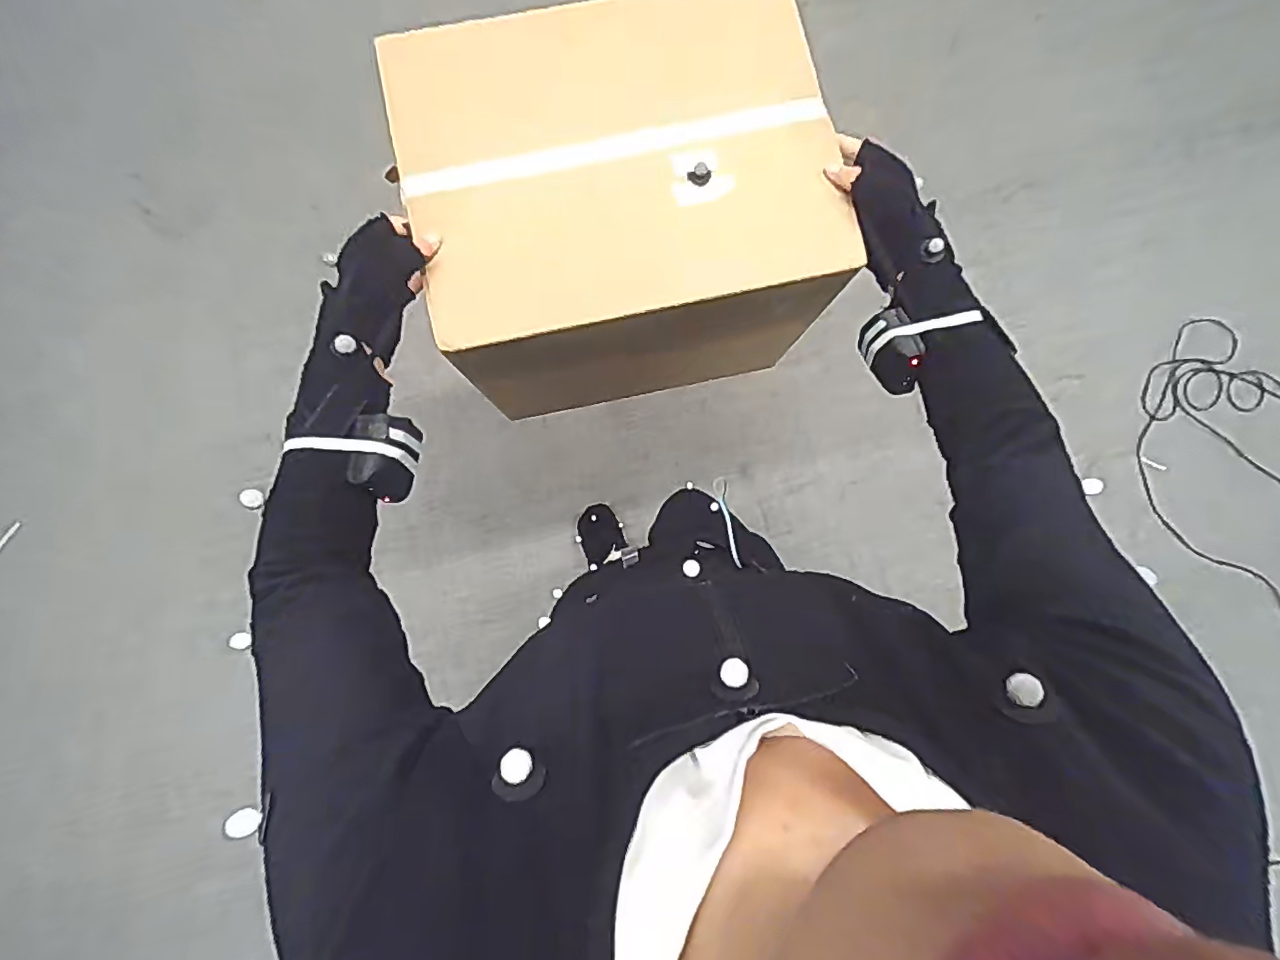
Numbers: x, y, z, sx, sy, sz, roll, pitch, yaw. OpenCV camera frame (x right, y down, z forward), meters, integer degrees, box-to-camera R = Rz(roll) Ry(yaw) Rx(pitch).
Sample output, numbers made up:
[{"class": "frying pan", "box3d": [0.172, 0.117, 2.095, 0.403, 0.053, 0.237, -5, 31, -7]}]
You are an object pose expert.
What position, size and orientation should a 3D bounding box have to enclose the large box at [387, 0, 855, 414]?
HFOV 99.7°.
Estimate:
[{"class": "large box", "box3d": [-0.026, -0.299, 0.665, 0.408, 0.320, 0.320, -12, 86, -3]}]
